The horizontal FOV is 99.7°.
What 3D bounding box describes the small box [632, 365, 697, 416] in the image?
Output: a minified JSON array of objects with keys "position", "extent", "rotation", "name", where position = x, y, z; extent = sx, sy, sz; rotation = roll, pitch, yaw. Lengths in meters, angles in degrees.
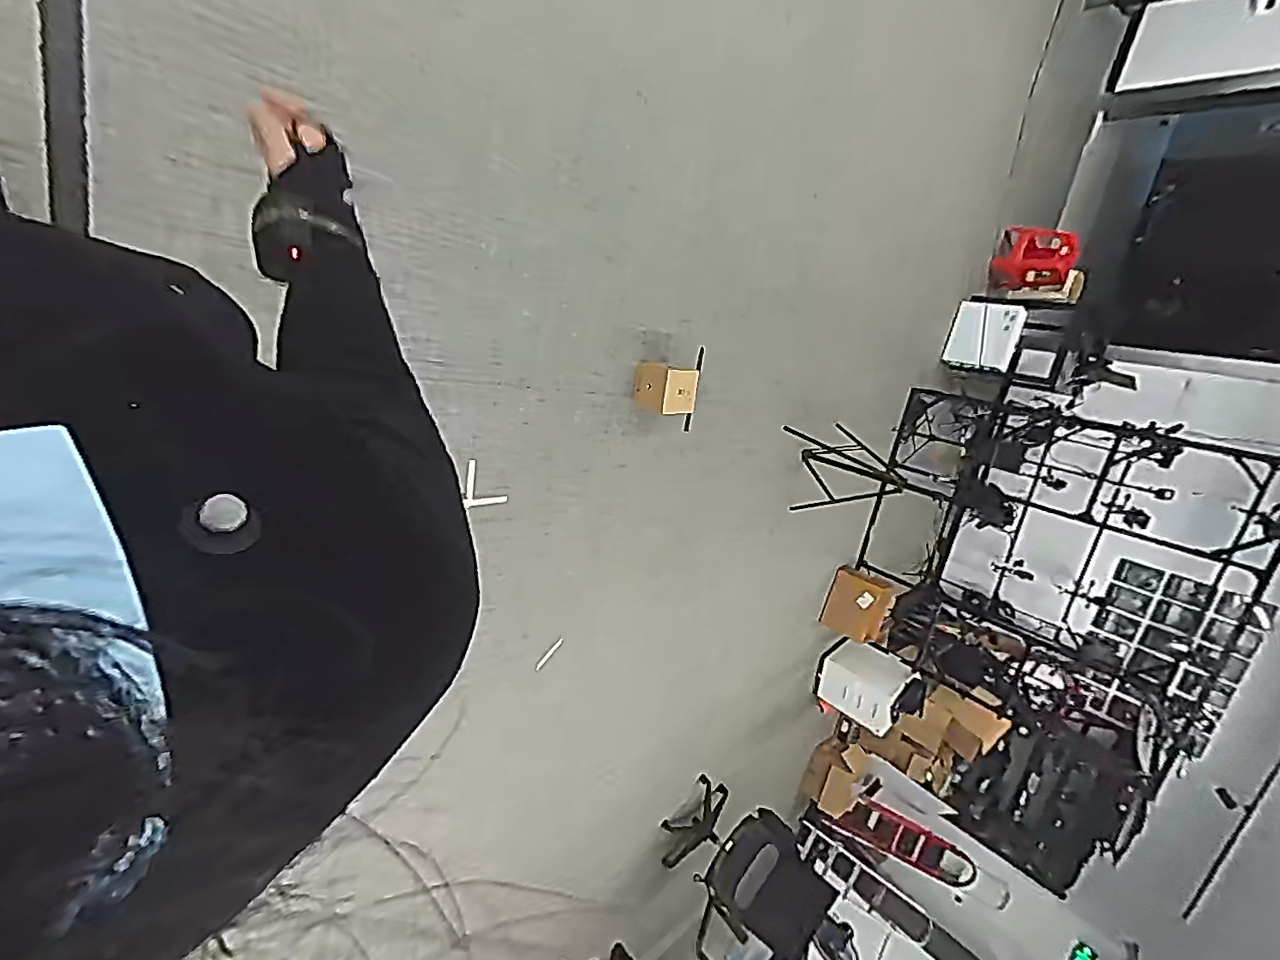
[{"position":[0.089,-0.344,2.064],"extent":[0.179,0.176,0.168],"rotation":[-8,114,-44],"name":"small box"}]
